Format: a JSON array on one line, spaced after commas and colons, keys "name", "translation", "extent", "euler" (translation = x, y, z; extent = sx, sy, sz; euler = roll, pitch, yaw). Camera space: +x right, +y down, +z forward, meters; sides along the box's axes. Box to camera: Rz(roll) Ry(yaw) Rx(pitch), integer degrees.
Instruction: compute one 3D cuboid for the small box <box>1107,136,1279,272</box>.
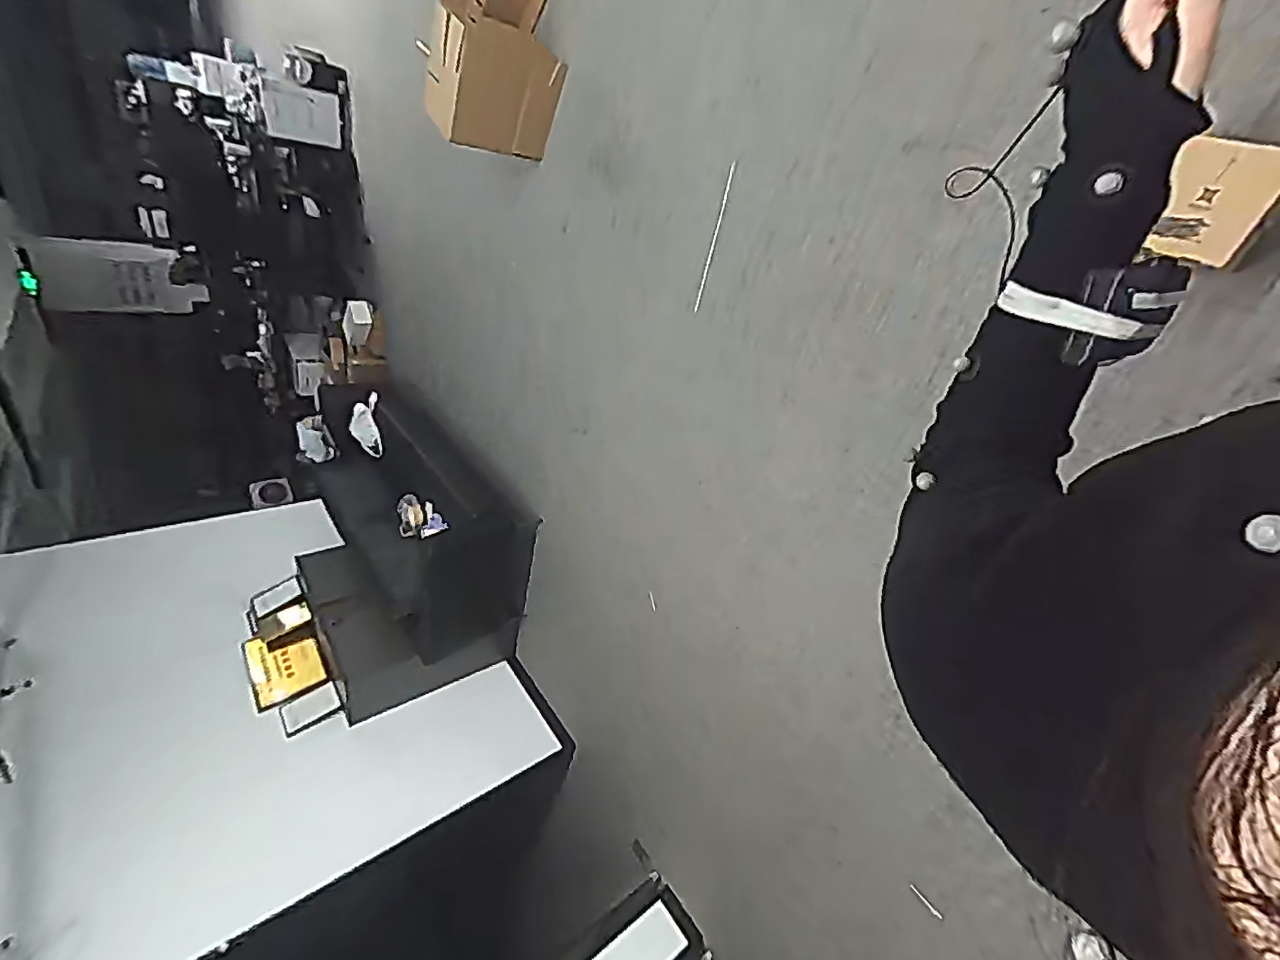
[{"name": "small box", "translation": [1.003, -0.487, 0.970], "extent": [0.168, 0.176, 0.179], "euler": [41, 128, 35]}]
